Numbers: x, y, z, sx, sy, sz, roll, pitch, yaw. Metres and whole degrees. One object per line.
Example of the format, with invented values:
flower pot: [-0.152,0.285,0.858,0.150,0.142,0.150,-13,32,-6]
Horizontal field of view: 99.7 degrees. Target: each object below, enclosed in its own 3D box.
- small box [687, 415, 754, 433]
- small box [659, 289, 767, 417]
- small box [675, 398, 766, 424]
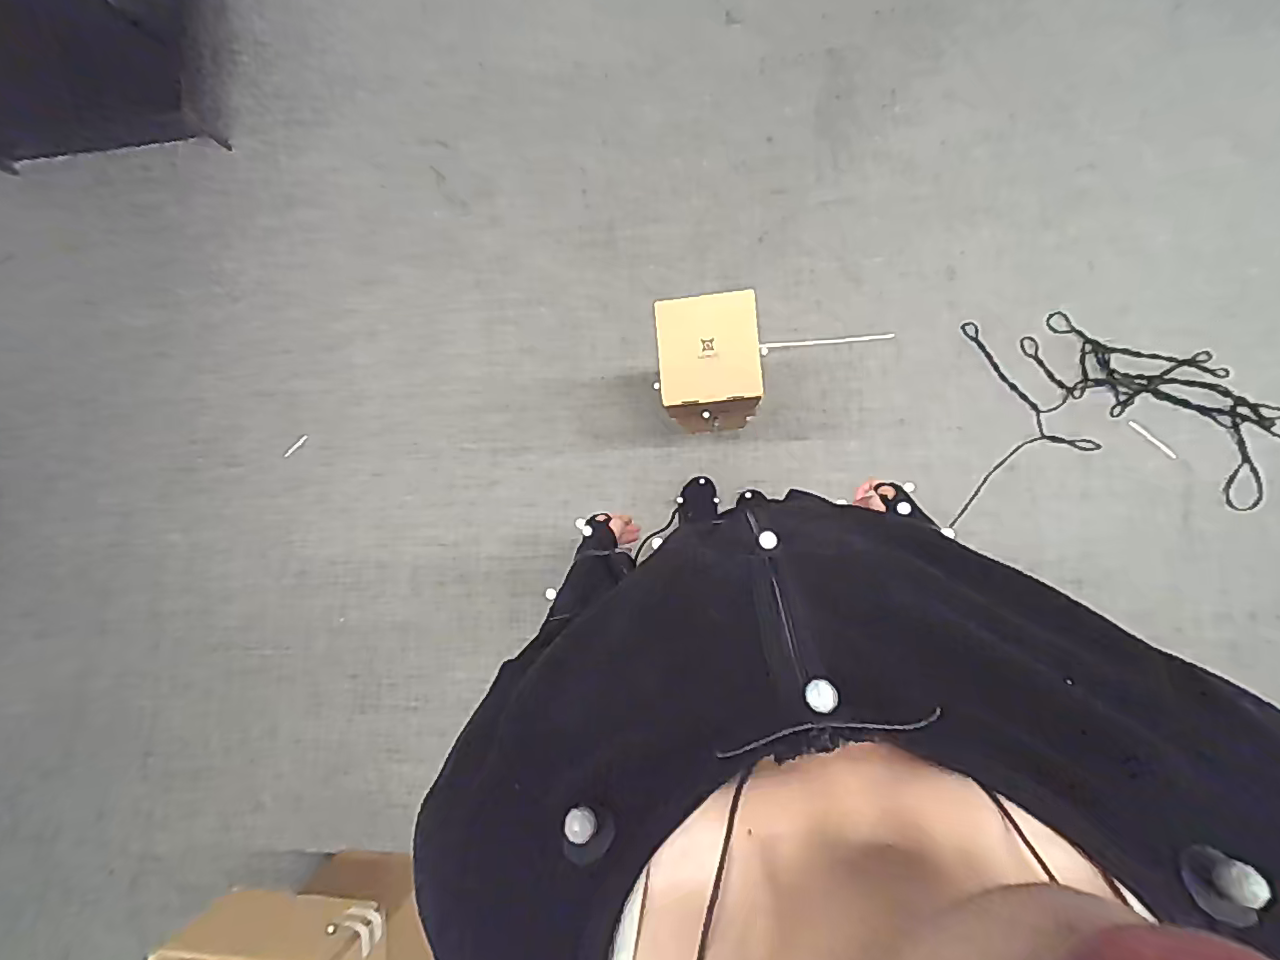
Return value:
small box: [0.207,-0.218,1.437,0.179,0.176,0.168,-3,88,8]
small box: [0.128,-0.214,0.953,0.168,0.176,0.179,-5,89,9]
small box: [0.156,-0.212,1.114,0.179,0.176,0.168,-5,88,7]
